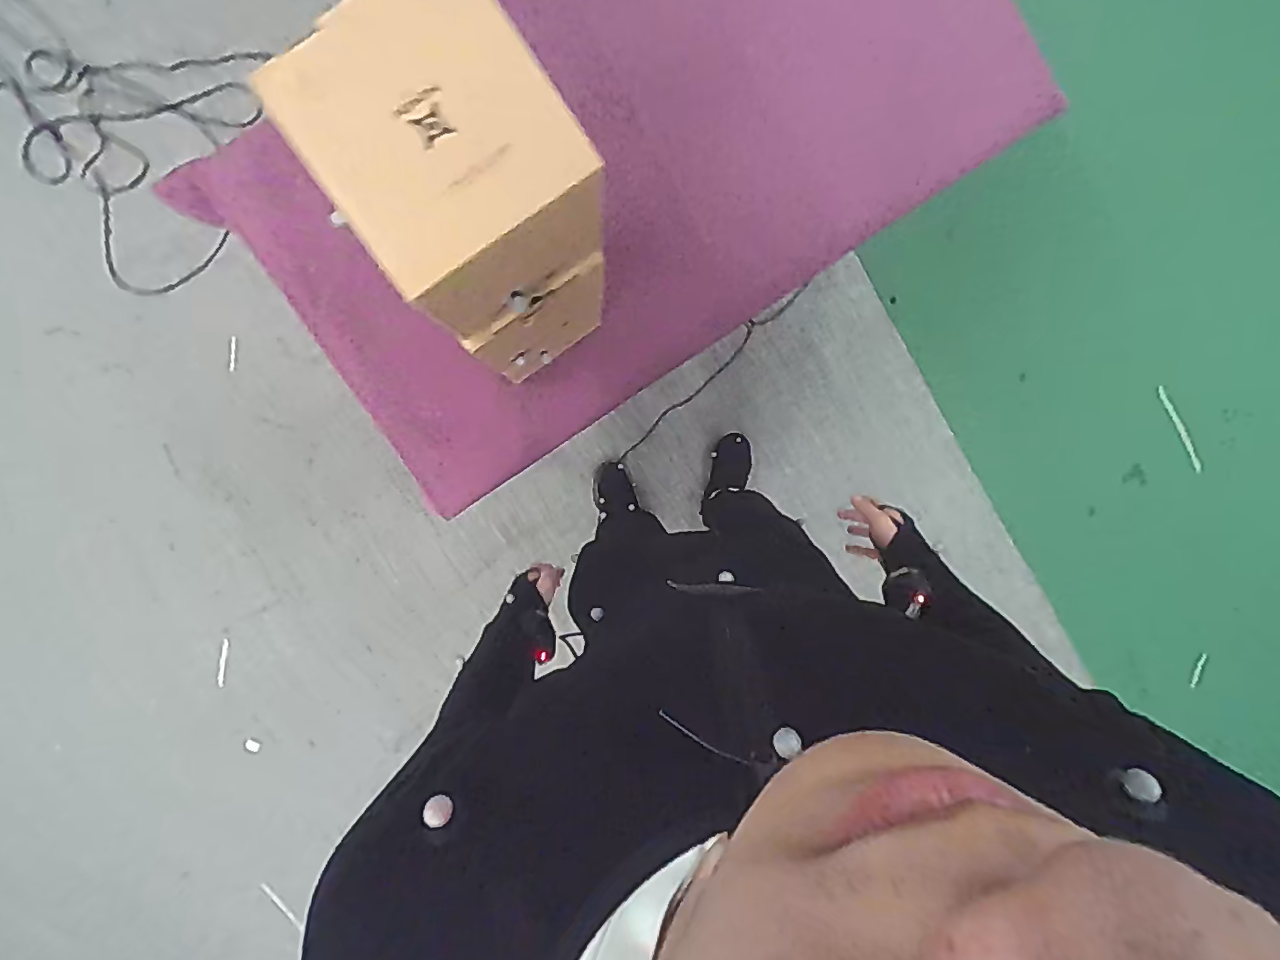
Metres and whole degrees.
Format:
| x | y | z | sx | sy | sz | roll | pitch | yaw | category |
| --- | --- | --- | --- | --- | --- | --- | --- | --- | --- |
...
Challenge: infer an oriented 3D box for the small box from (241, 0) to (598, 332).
| x | y | z | sx | sy | sz | roll | pitch | yaw | category |
| --- | --- | --- | --- | --- | --- | --- | --- | --- | --- |
| -0.149 | -0.245 | 0.435 | 0.168 | 0.176 | 0.179 | -35 | 96 | 0 | small box |

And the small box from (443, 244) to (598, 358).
| x | y | z | sx | sy | sz | roll | pitch | yaw | category |
| --- | --- | --- | --- | --- | --- | --- | --- | --- | --- |
| -0.157 | -0.251 | 0.598 | 0.168 | 0.176 | 0.179 | -36 | 95 | 0 | small box |

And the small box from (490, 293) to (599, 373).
| x | y | z | sx | sy | sz | roll | pitch | yaw | category |
| --- | --- | --- | --- | --- | --- | --- | --- | --- | --- |
| -0.170 | -0.265 | 0.761 | 0.168 | 0.176 | 0.179 | -37 | 96 | 0 | small box |
